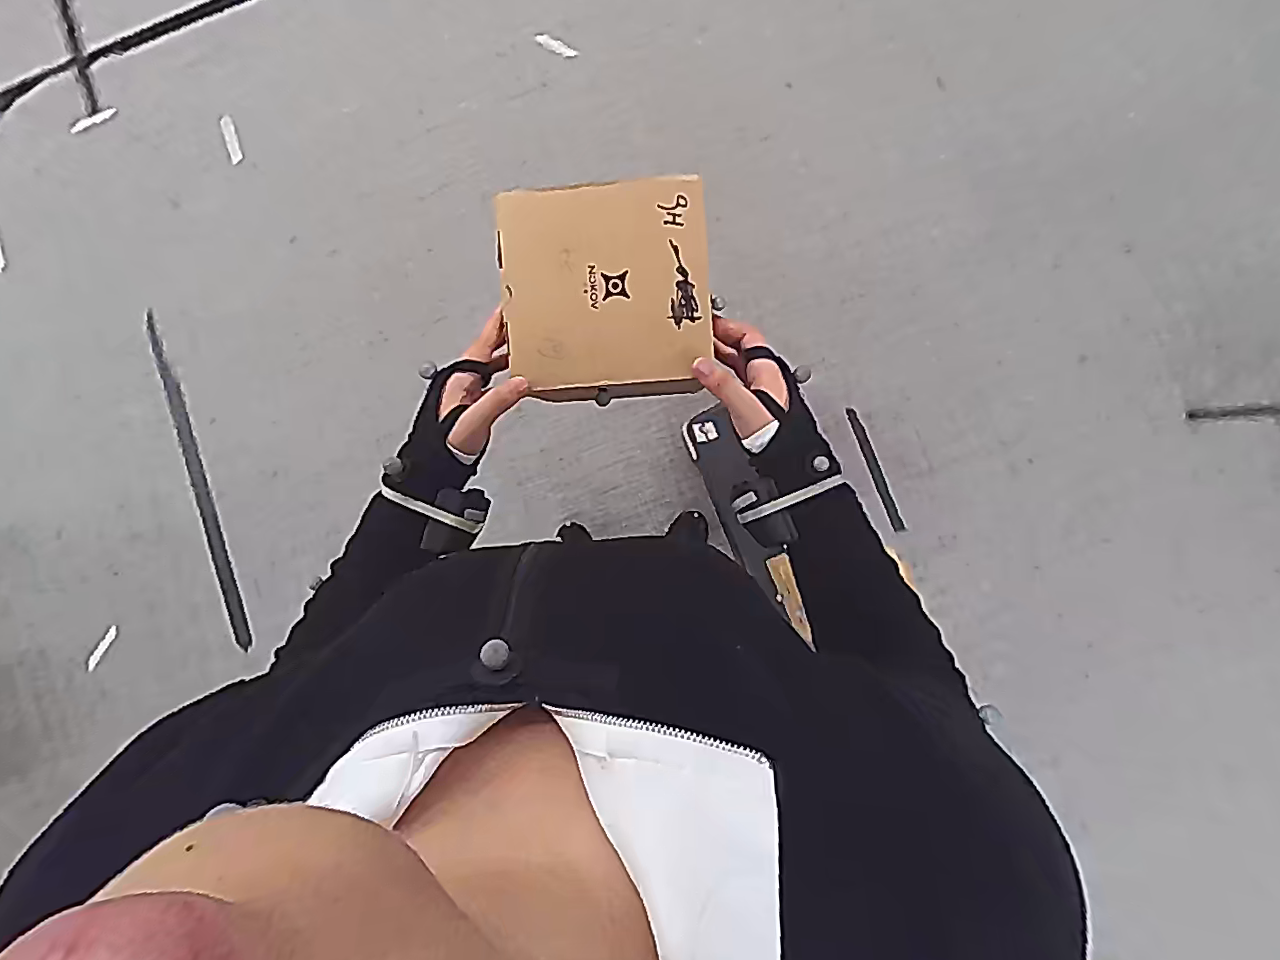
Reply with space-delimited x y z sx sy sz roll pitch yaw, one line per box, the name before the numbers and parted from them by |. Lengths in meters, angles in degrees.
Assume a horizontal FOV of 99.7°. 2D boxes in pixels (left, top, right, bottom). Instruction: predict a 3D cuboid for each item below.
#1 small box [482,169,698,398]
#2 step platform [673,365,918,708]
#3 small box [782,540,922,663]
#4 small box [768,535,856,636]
small box | -0.038 -0.174 0.534 0.179 0.176 0.168 -4 94 3
step platform | 0.315 0.113 1.180 0.286 0.204 0.684 -21 87 1
small box | 0.395 0.223 1.041 0.179 0.176 0.168 -22 86 3
small box | 0.398 0.224 1.205 0.179 0.176 0.168 -22 85 2
